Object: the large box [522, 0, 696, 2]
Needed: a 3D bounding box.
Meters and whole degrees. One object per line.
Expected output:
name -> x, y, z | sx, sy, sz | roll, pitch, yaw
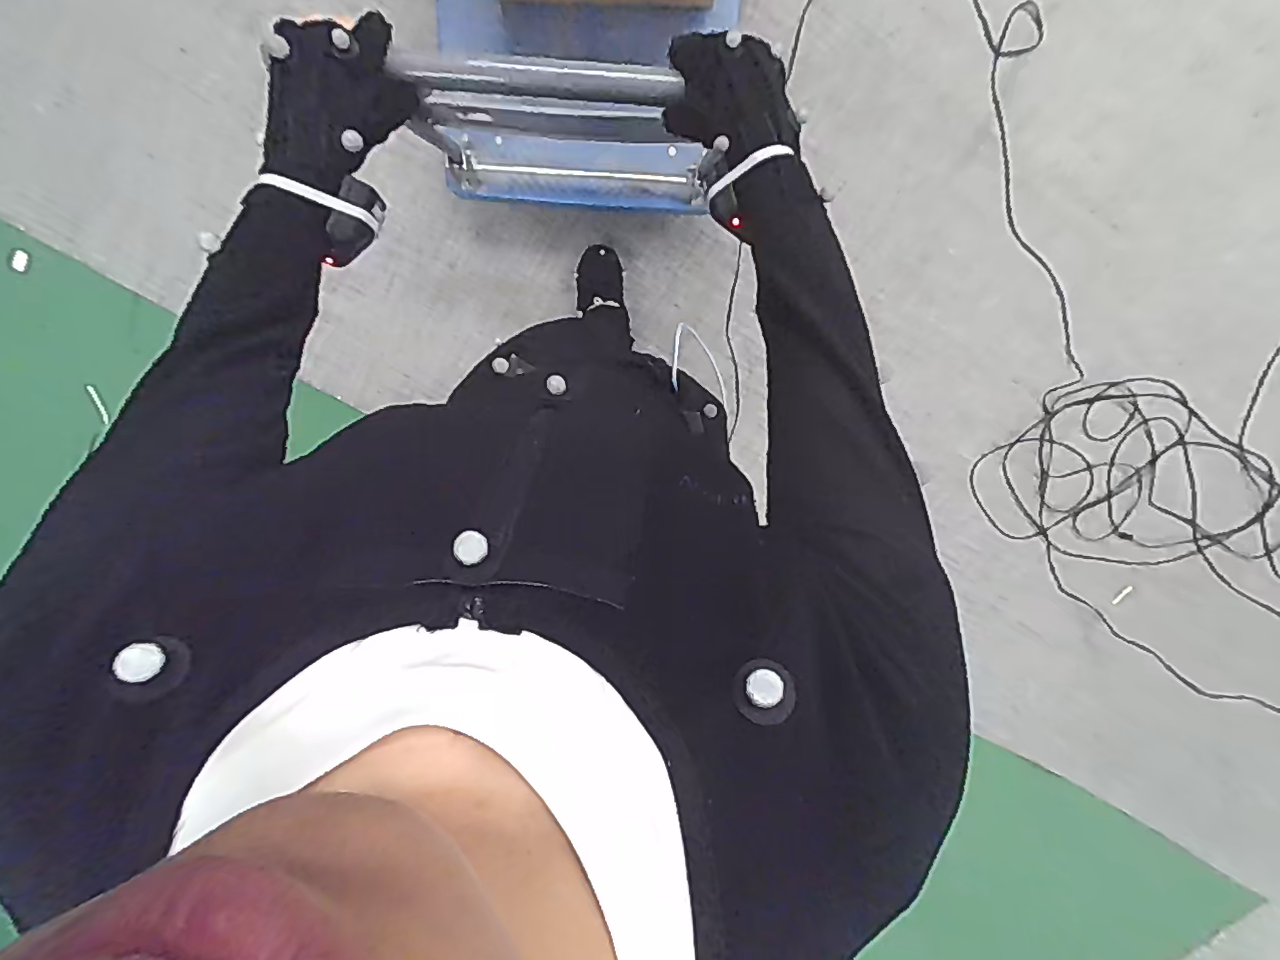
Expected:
large box -> -0.059, -1.003, 0.836 | 0.408, 0.320, 0.320 | 1, 108, 0
